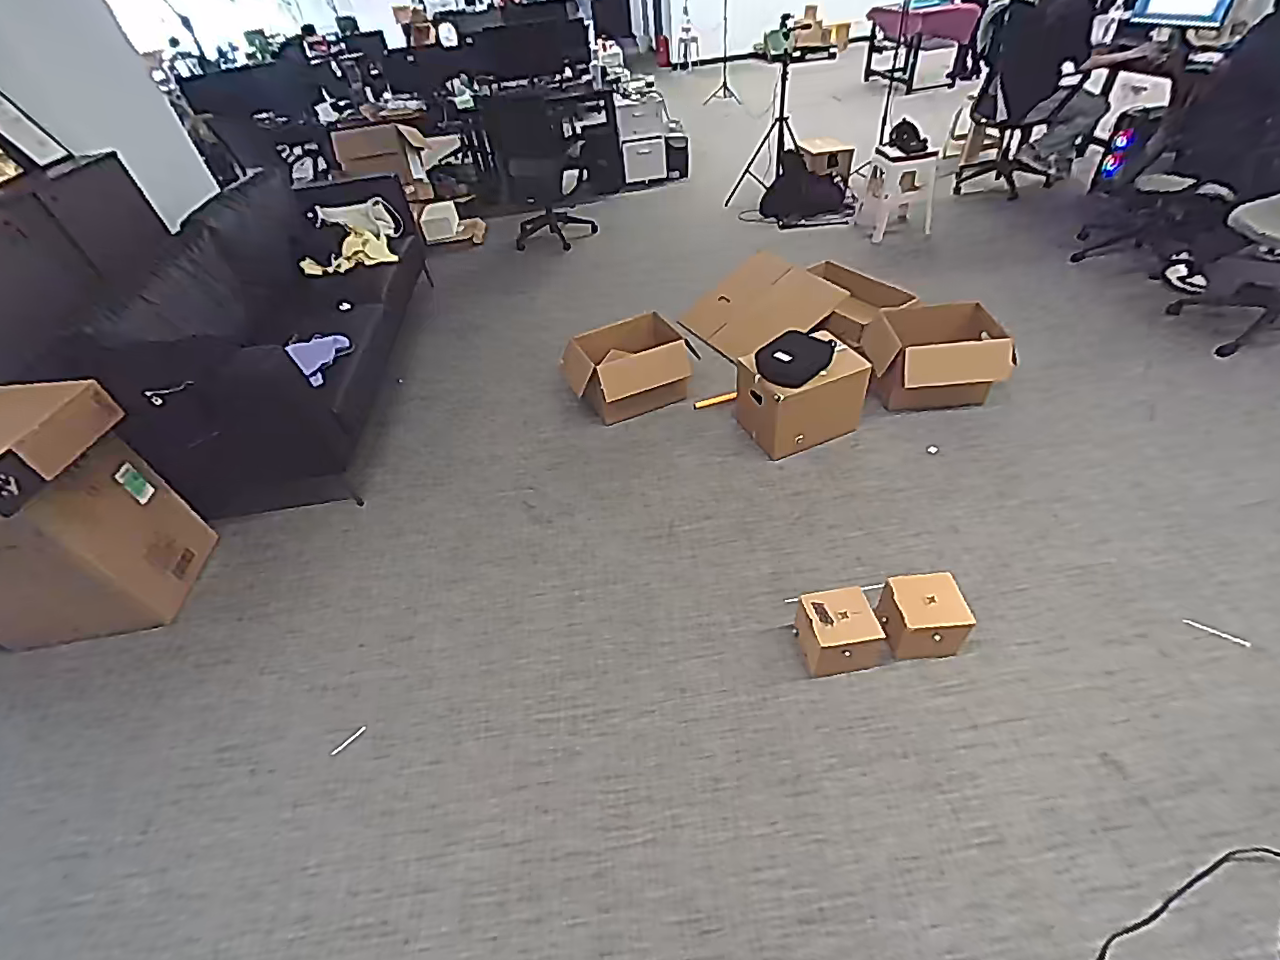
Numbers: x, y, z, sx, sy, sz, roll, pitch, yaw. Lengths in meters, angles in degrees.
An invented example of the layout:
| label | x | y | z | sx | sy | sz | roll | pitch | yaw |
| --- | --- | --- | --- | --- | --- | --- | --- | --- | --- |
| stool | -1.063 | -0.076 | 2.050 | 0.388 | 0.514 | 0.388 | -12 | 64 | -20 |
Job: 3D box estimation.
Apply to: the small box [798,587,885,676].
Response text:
| label | x | y | z | sx | sy | sz | roll | pitch | yaw |
| --- | --- | --- | --- | --- | --- | --- | --- | --- | --- |
| small box | 0.550 | 0.426 | 1.507 | 0.179 | 0.176 | 0.168 | -9 | 44 | -1 |

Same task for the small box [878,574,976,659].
| label | x | y | z | sx | sy | sz | roll | pitch | yaw |
| --- | --- | --- | --- | --- | --- | --- | --- | --- | --- |
| small box | 0.792 | 0.384 | 1.511 | 0.179 | 0.176 | 0.168 | -7 | 44 | 4 |
